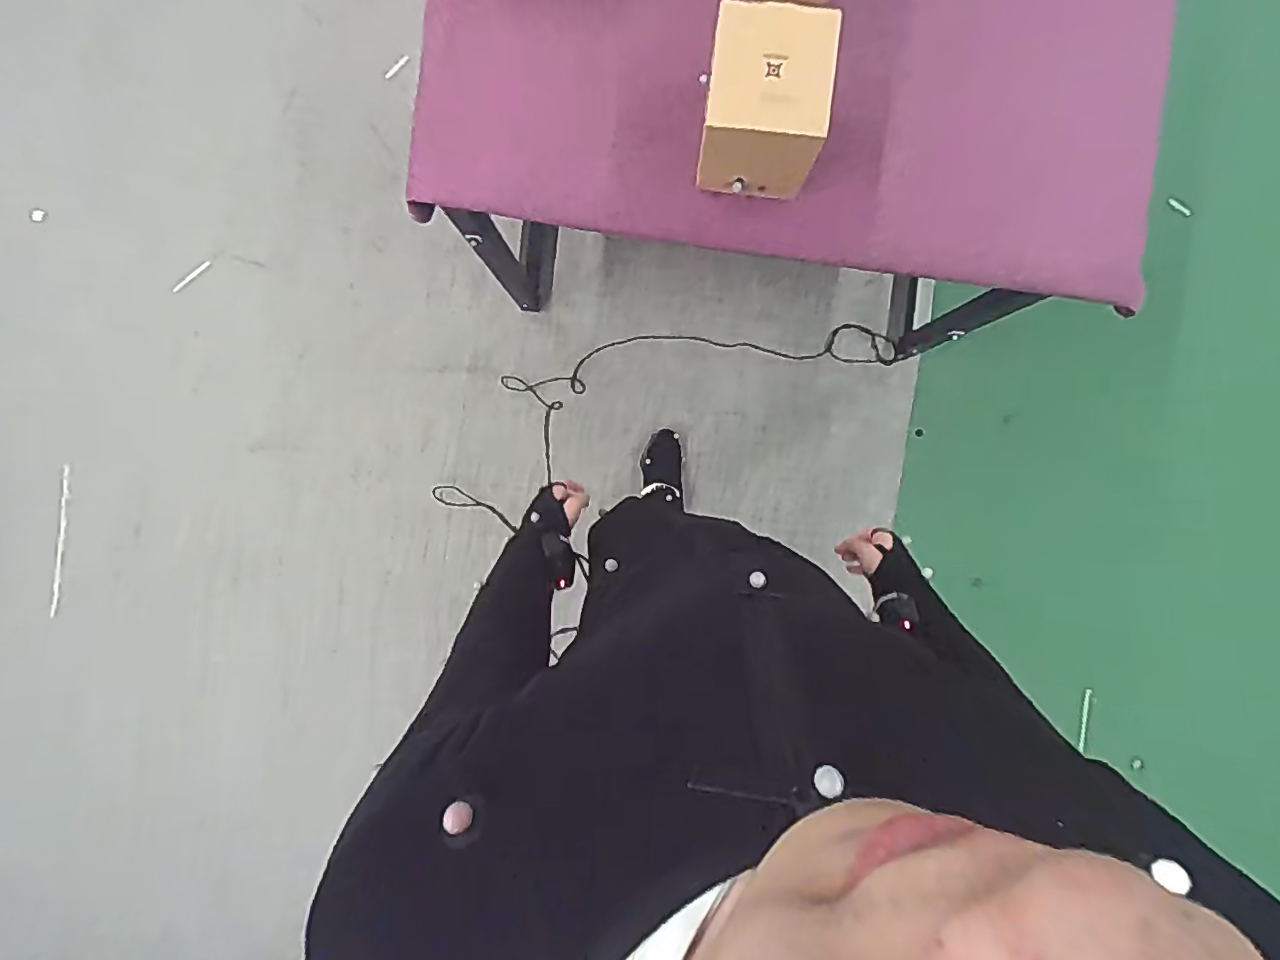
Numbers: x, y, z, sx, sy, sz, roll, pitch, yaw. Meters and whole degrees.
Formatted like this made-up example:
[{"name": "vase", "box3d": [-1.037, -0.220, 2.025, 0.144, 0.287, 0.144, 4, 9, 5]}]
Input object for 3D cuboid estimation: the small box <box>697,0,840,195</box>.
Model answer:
[{"name": "small box", "box3d": [0.180, -0.562, 0.806, 0.168, 0.176, 0.179, 8, 91, 3]}]
